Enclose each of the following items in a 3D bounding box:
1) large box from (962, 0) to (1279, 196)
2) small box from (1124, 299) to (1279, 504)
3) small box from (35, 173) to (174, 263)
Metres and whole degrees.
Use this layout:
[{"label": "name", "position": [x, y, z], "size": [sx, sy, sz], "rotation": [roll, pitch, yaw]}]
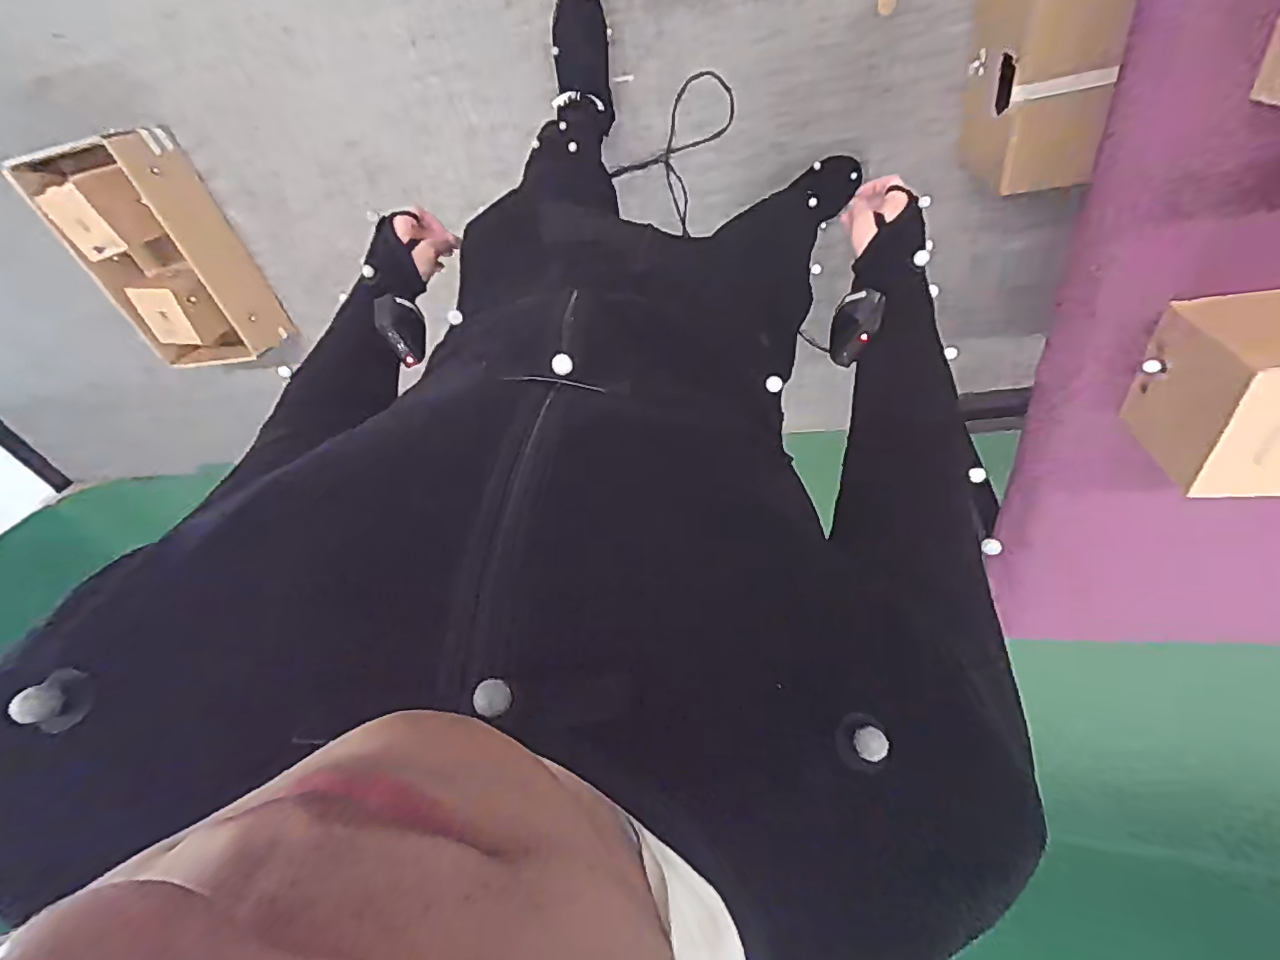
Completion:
[{"label": "large box", "position": [0.815, -0.718, 0.903], "size": [0.408, 0.320, 0.320], "rotation": [-3, 131, 16]}, {"label": "small box", "position": [0.698, -0.091, 0.593], "size": [0.179, 0.176, 0.168], "rotation": [-2, 130, 15]}, {"label": "small box", "position": [-1.481, -0.735, 1.507], "size": [0.168, 0.176, 0.179], "rotation": [-6, 130, 18]}]
